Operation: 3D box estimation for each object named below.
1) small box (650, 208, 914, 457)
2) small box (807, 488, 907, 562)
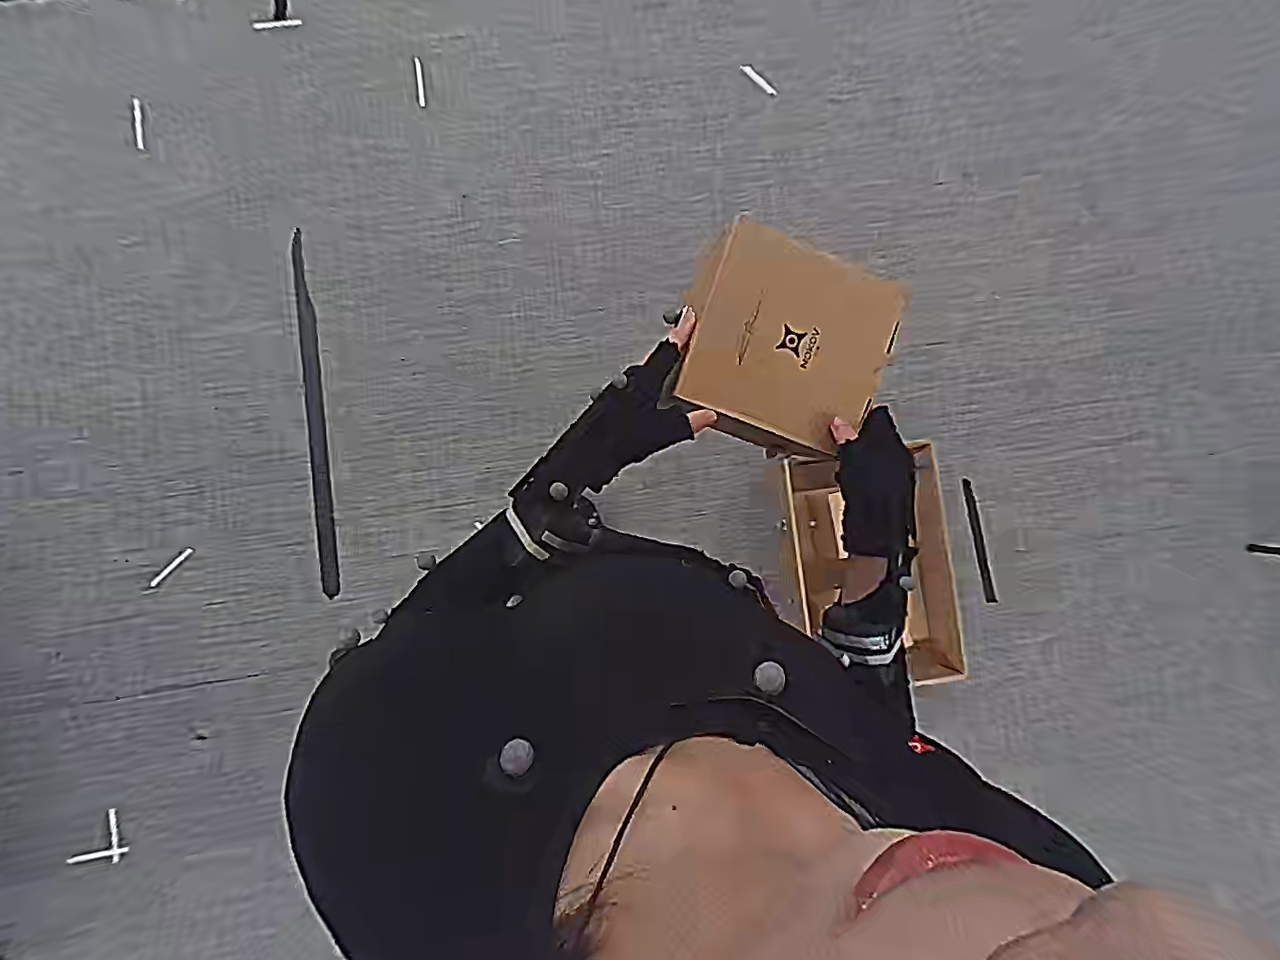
[{"bbox_3d":[0.124,-0.130,0.541,0.179,0.176,0.168,18,92,-9],"label":"small box"},{"bbox_3d":[0.564,0.115,1.421,0.179,0.176,0.168,-9,87,-3],"label":"small box"}]
